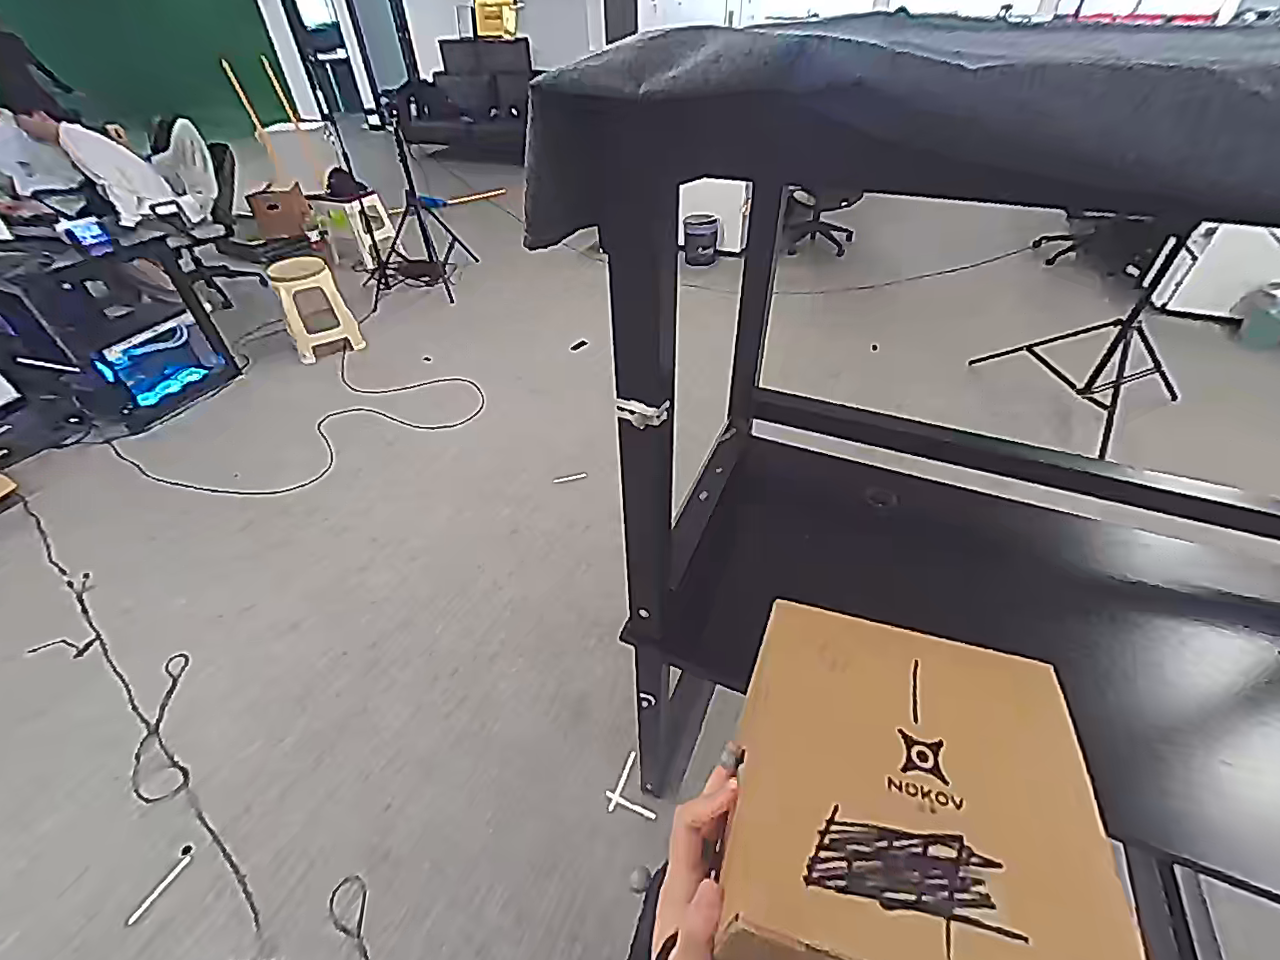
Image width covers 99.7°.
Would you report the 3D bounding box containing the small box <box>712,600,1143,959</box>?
[{"bbox_3d":[0.142,0.208,0.329,0.168,0.176,0.179,12,42,12],"label":"small box"}]
